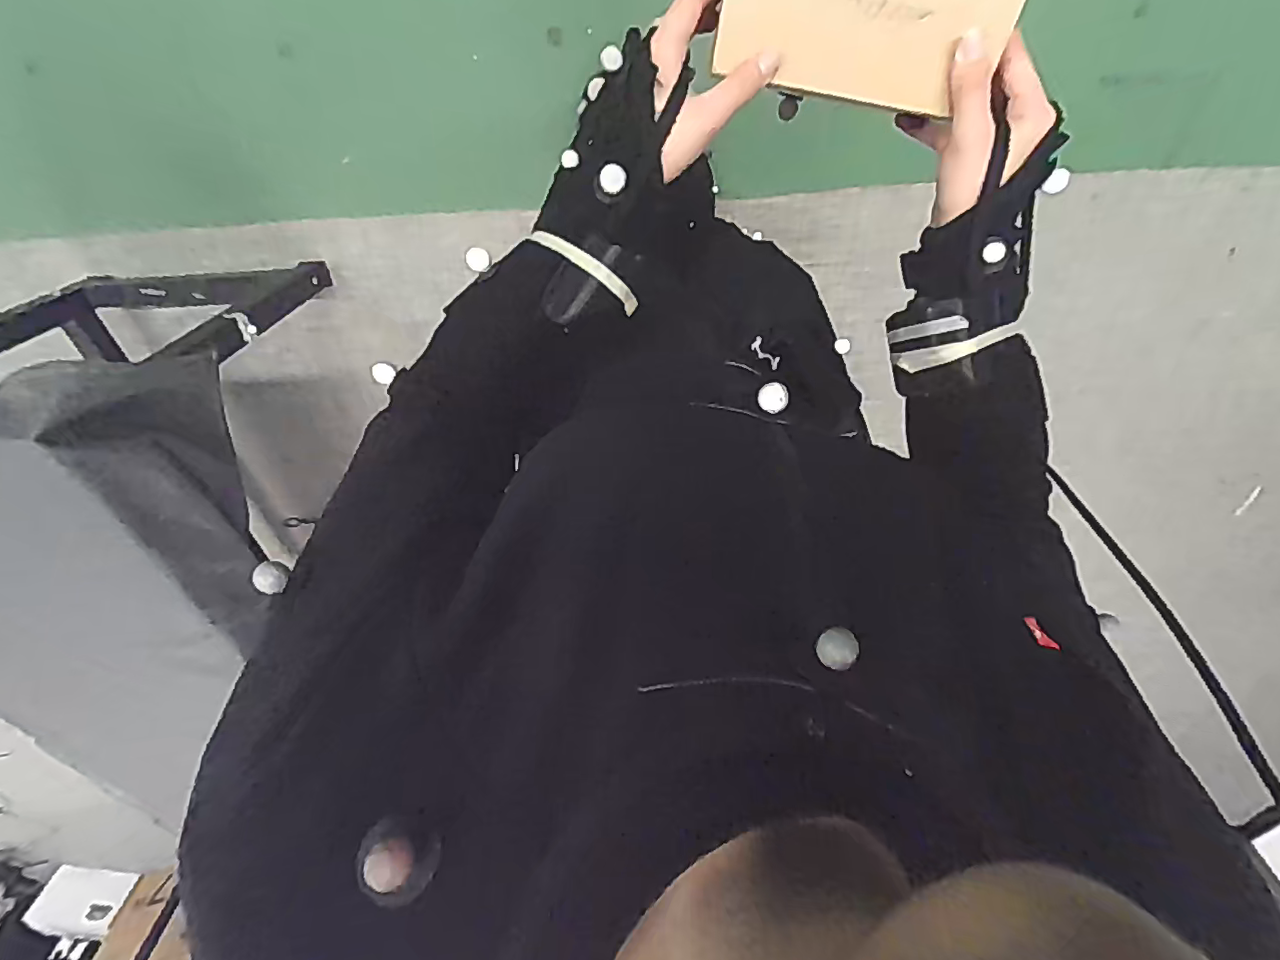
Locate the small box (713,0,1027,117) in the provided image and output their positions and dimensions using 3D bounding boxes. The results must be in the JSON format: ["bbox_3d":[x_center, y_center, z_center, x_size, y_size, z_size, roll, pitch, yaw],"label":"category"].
[{"bbox_3d":[0.144,-0.351,0.341,0.168,0.176,0.179,10,126,-2],"label":"small box"}]
